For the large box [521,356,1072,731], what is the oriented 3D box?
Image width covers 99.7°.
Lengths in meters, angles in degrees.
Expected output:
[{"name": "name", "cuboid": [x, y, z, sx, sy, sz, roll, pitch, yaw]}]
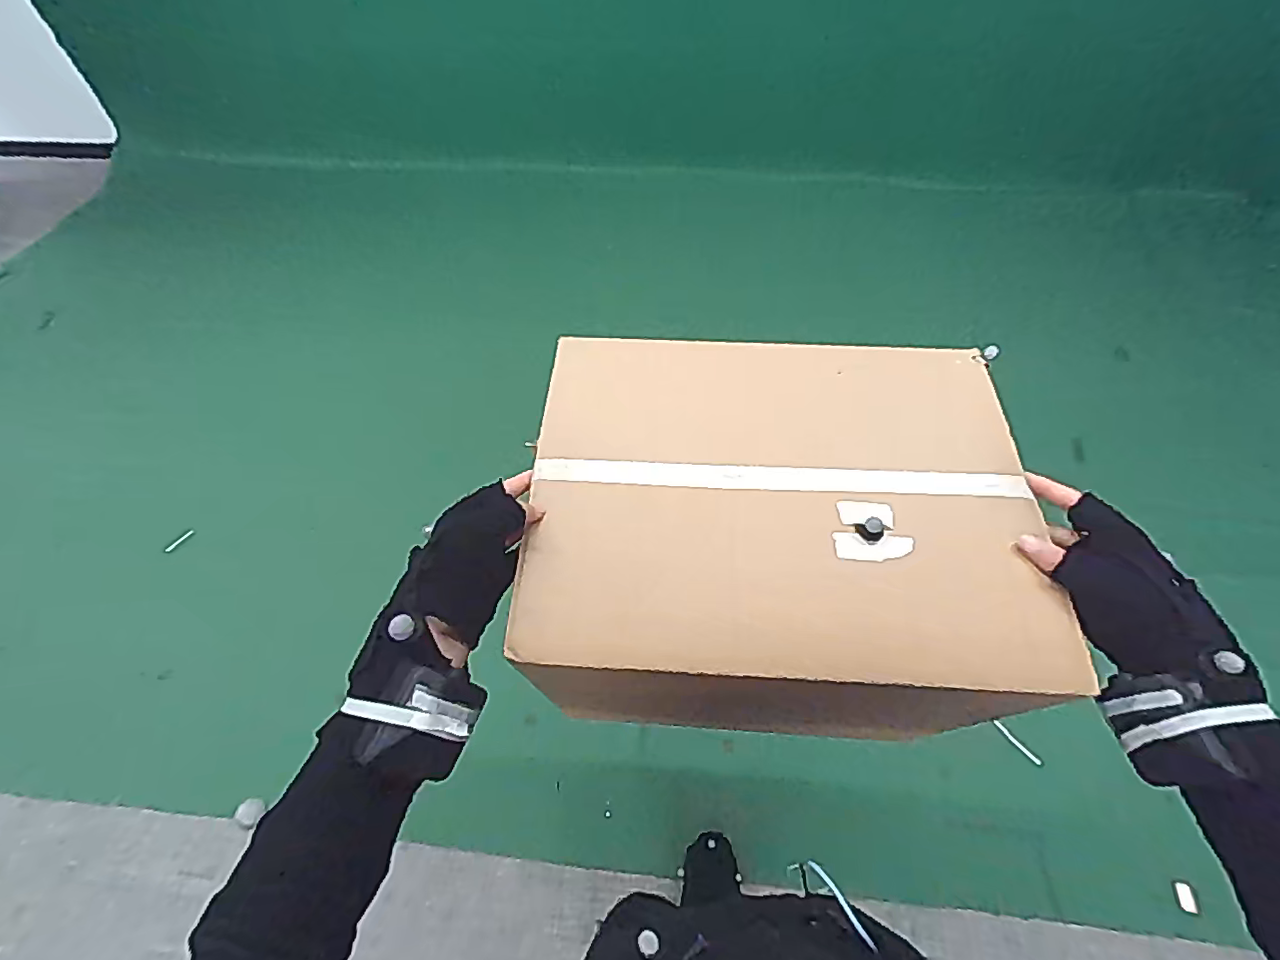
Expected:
[{"name": "large box", "cuboid": [0.116, 0.085, 0.591, 0.408, 0.320, 0.320, 2, 60, 3]}]
